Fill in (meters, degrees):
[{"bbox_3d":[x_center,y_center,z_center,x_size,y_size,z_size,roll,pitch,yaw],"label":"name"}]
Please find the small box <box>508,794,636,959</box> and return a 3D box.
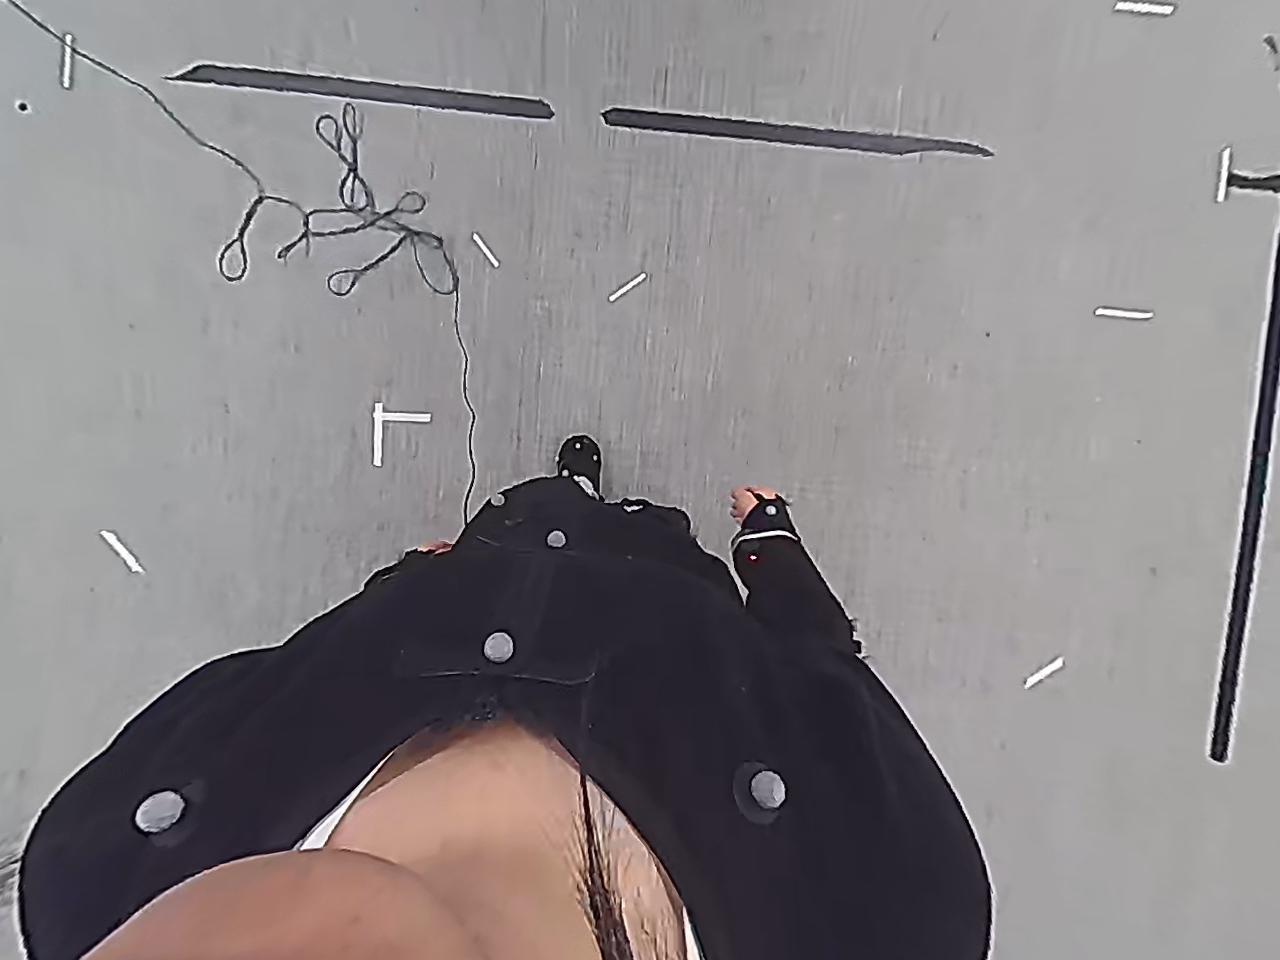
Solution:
[{"bbox_3d":[-0.100,0.632,0.851,0.168,0.176,0.179,8,93,0],"label":"small box"}]
